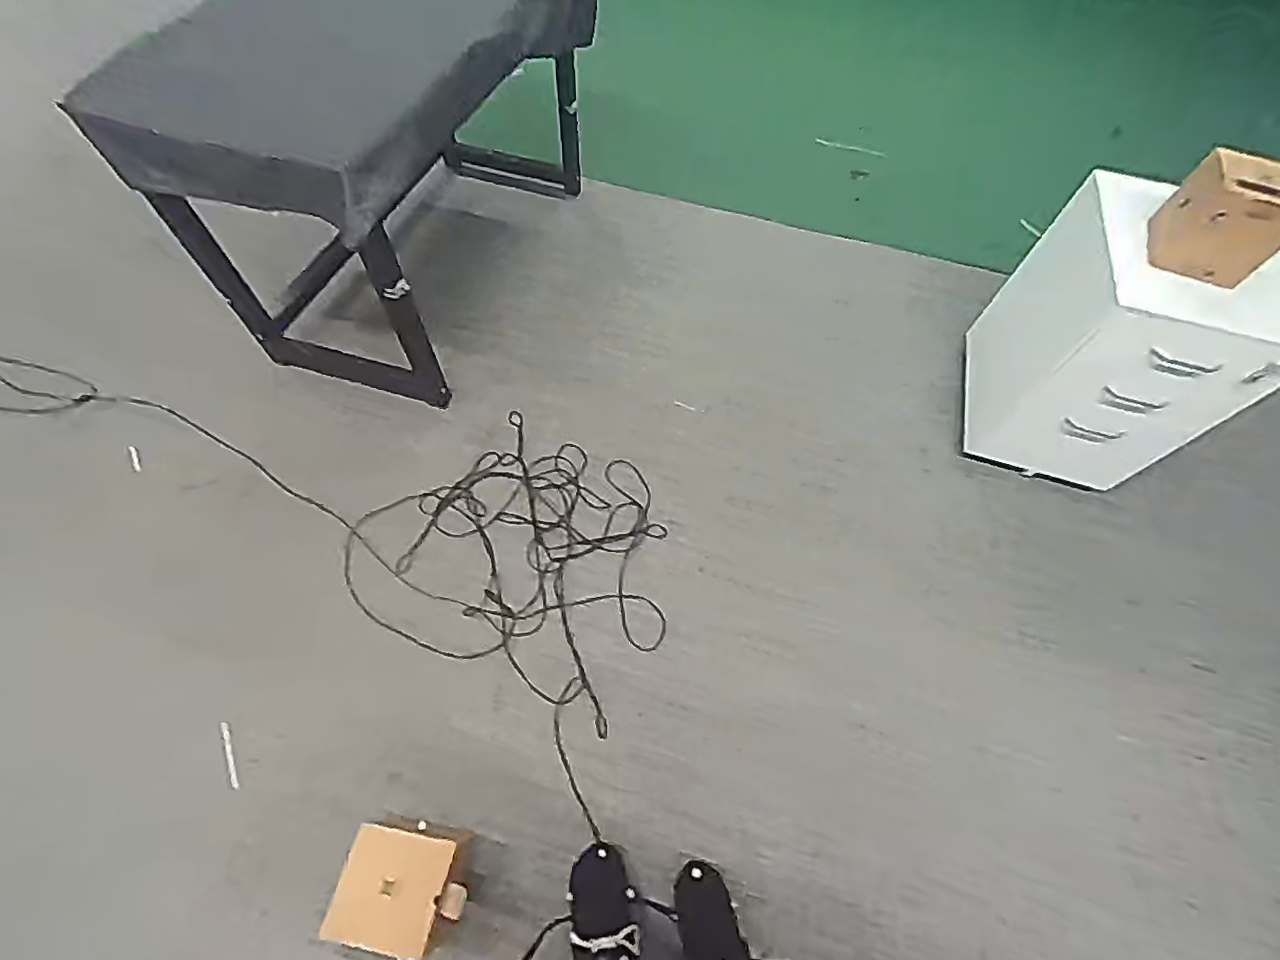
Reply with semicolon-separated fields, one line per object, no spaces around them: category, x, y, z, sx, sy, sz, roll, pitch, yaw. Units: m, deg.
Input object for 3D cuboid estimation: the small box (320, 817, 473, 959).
small box;-0.424;0.724;0.977;0.179;0.176;0.168;12;59;2
